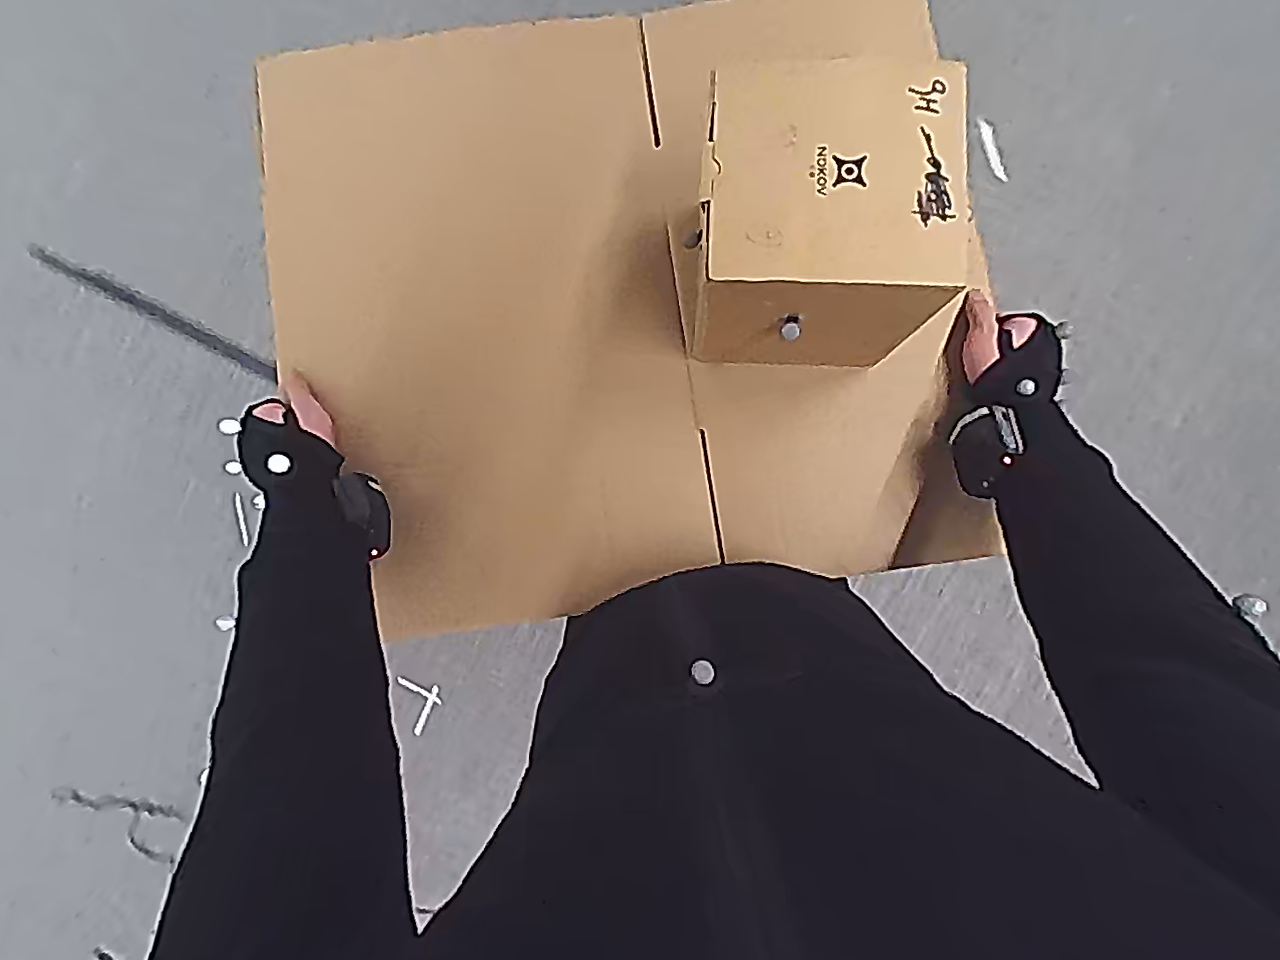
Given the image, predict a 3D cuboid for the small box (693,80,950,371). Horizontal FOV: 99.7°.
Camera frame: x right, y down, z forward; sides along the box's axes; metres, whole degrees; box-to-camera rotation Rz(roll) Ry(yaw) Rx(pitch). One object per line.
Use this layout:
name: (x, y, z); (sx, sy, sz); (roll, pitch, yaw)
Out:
small box: (0.135, -0.197, 0.463); (0.179, 0.176, 0.168); (1, 84, 5)
